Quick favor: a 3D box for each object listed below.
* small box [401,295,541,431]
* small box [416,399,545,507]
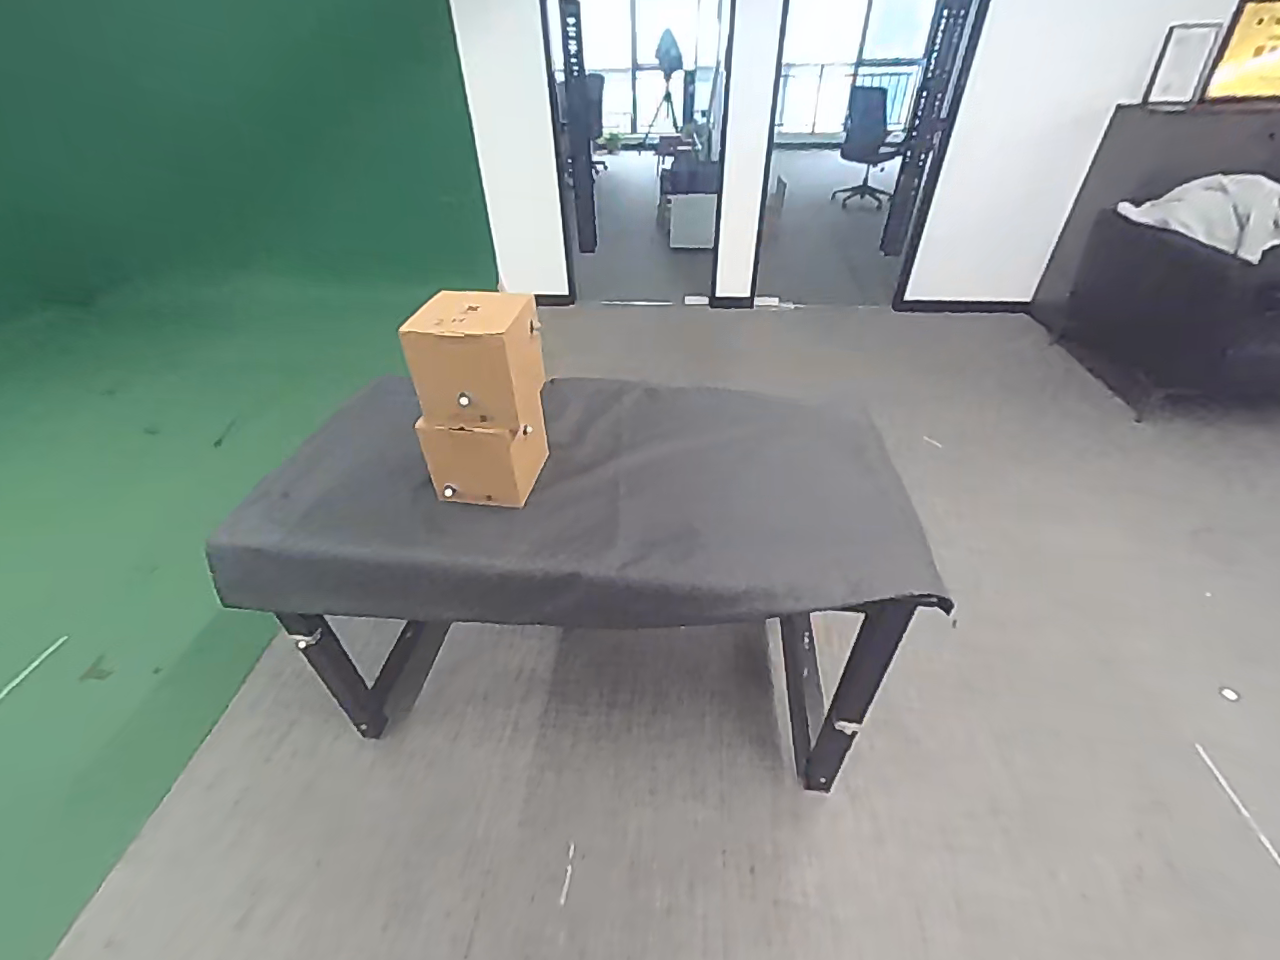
[{"bbox_3d":[-0.271,-0.201,0.919,0.168,0.176,0.179,3,38,5],"label":"small box"},{"bbox_3d":[-0.285,-0.068,1.016,0.168,0.176,0.179,5,38,7],"label":"small box"}]
